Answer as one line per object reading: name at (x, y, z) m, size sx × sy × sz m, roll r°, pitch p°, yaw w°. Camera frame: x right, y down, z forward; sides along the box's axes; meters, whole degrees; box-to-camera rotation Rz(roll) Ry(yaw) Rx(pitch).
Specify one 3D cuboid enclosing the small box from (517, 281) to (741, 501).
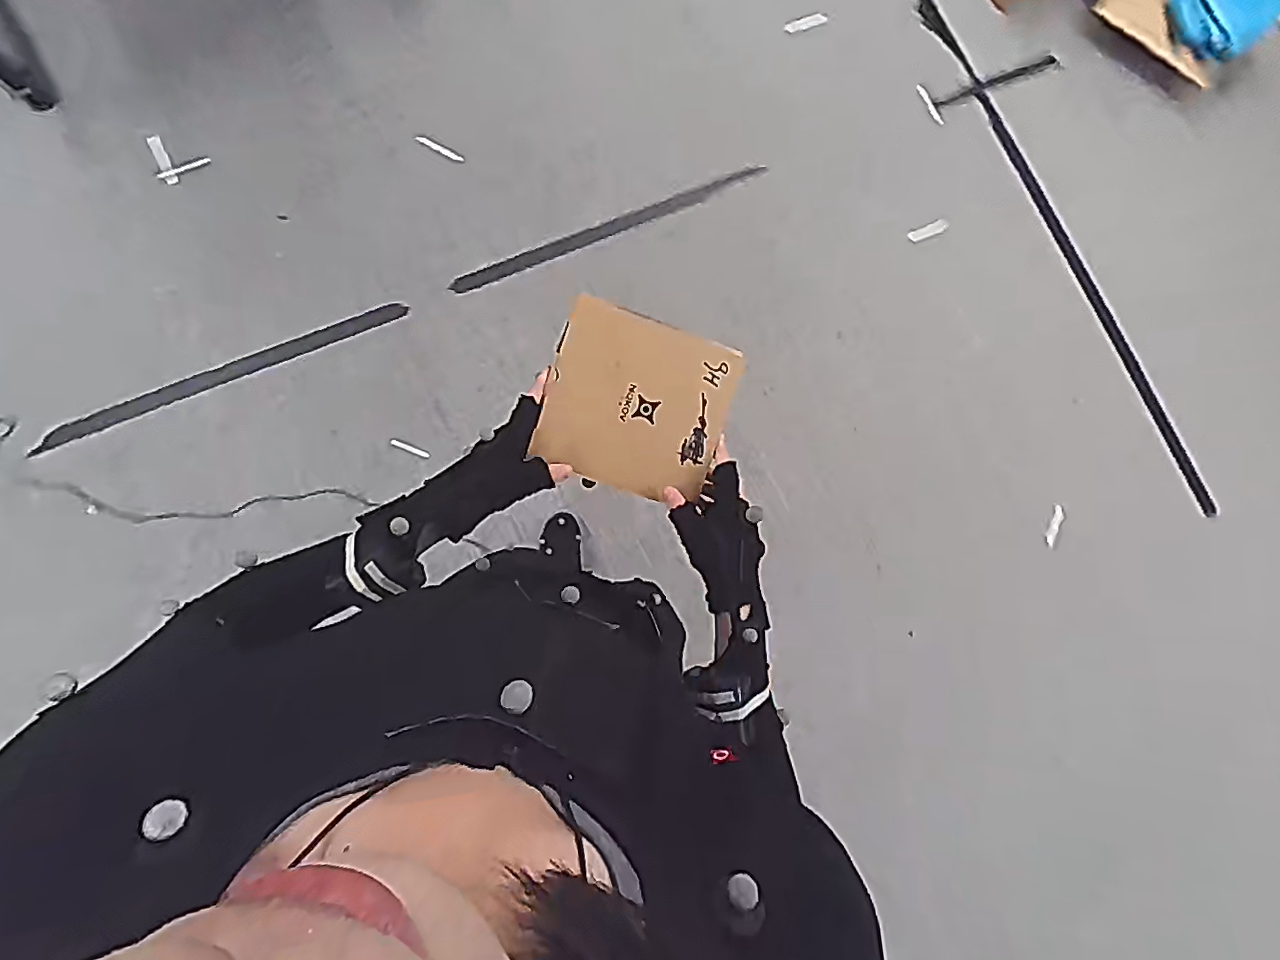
small box at (-0.020, -0.086, 0.583) m, size 0.179 × 0.176 × 0.168 m, roll 17°, pitch 93°, yaw -10°
